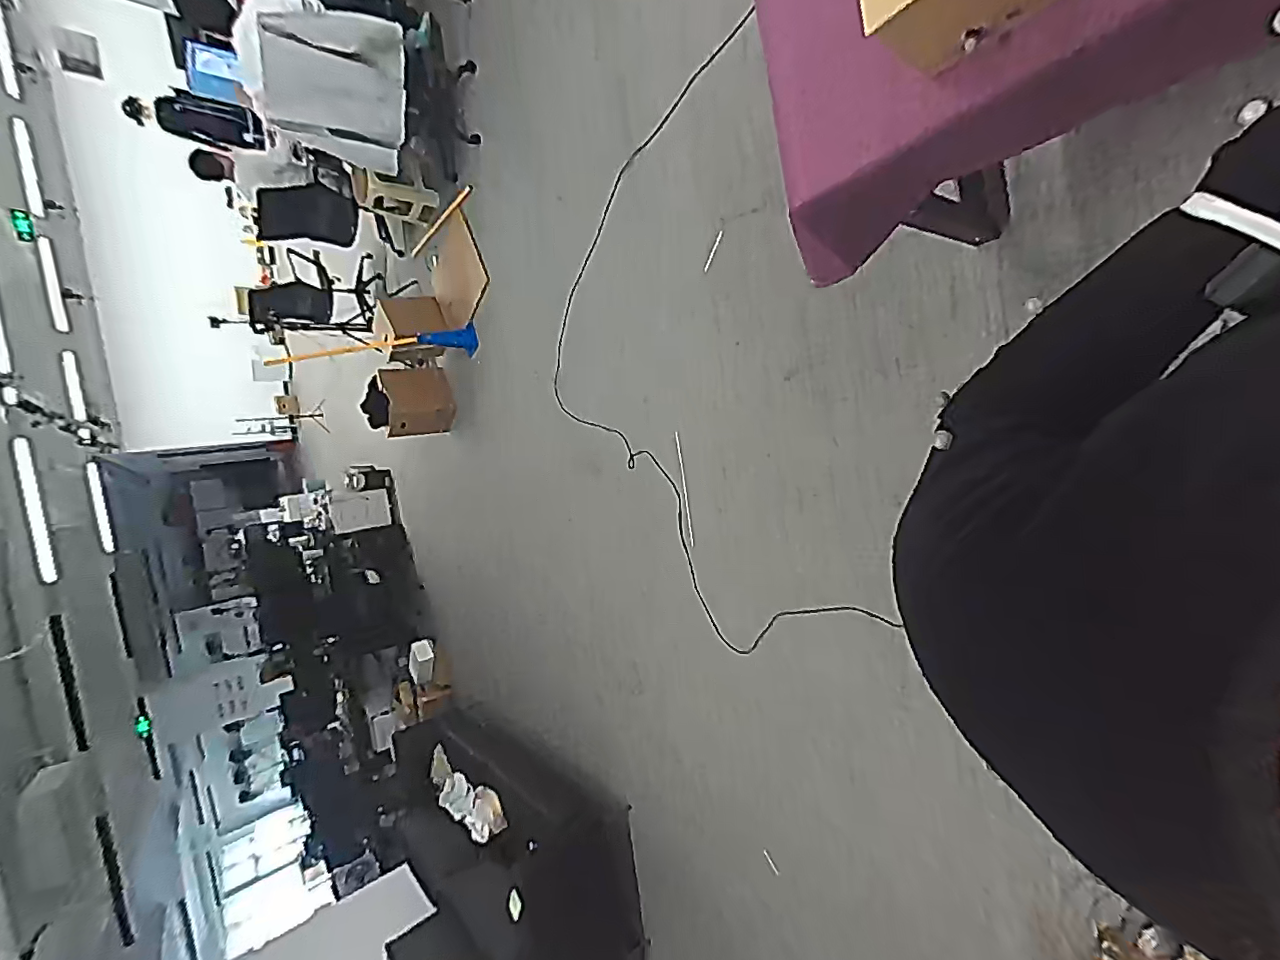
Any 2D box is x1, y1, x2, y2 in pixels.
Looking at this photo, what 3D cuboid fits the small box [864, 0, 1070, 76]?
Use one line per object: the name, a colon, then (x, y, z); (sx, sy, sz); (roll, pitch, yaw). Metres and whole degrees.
small box: (0.359, -0.599, 0.593); (0.168, 0.176, 0.179); (-6, 95, 52)
